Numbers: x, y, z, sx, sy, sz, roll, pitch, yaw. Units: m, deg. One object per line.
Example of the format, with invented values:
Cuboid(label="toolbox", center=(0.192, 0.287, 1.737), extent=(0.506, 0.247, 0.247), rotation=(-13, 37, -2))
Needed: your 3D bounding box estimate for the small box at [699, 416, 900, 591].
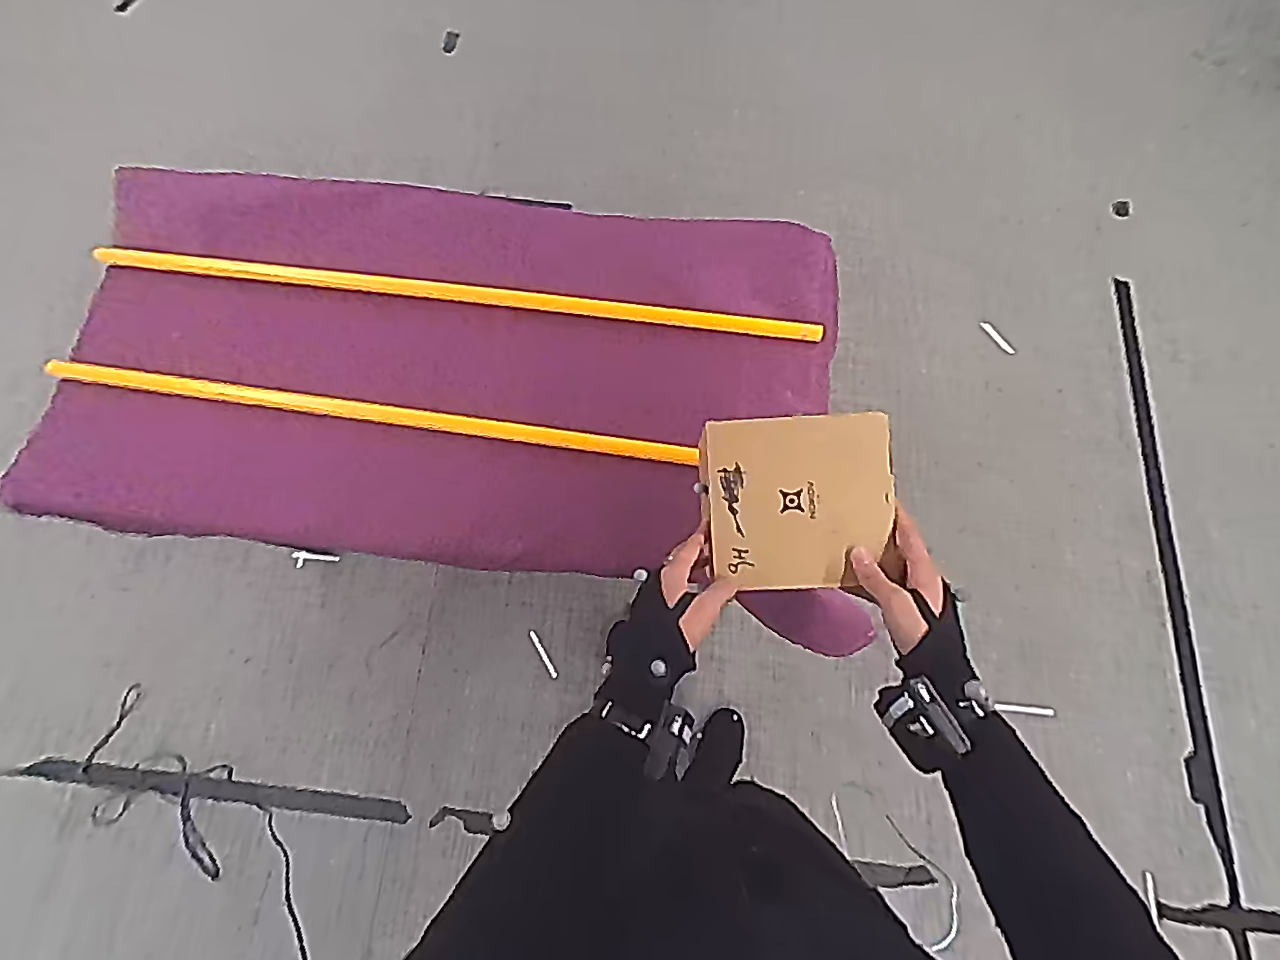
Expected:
Cuboid(label="small box", center=(0.159, 0.024, 0.591), extent=(0.179, 0.176, 0.168), rotation=(-2, 87, 4))
